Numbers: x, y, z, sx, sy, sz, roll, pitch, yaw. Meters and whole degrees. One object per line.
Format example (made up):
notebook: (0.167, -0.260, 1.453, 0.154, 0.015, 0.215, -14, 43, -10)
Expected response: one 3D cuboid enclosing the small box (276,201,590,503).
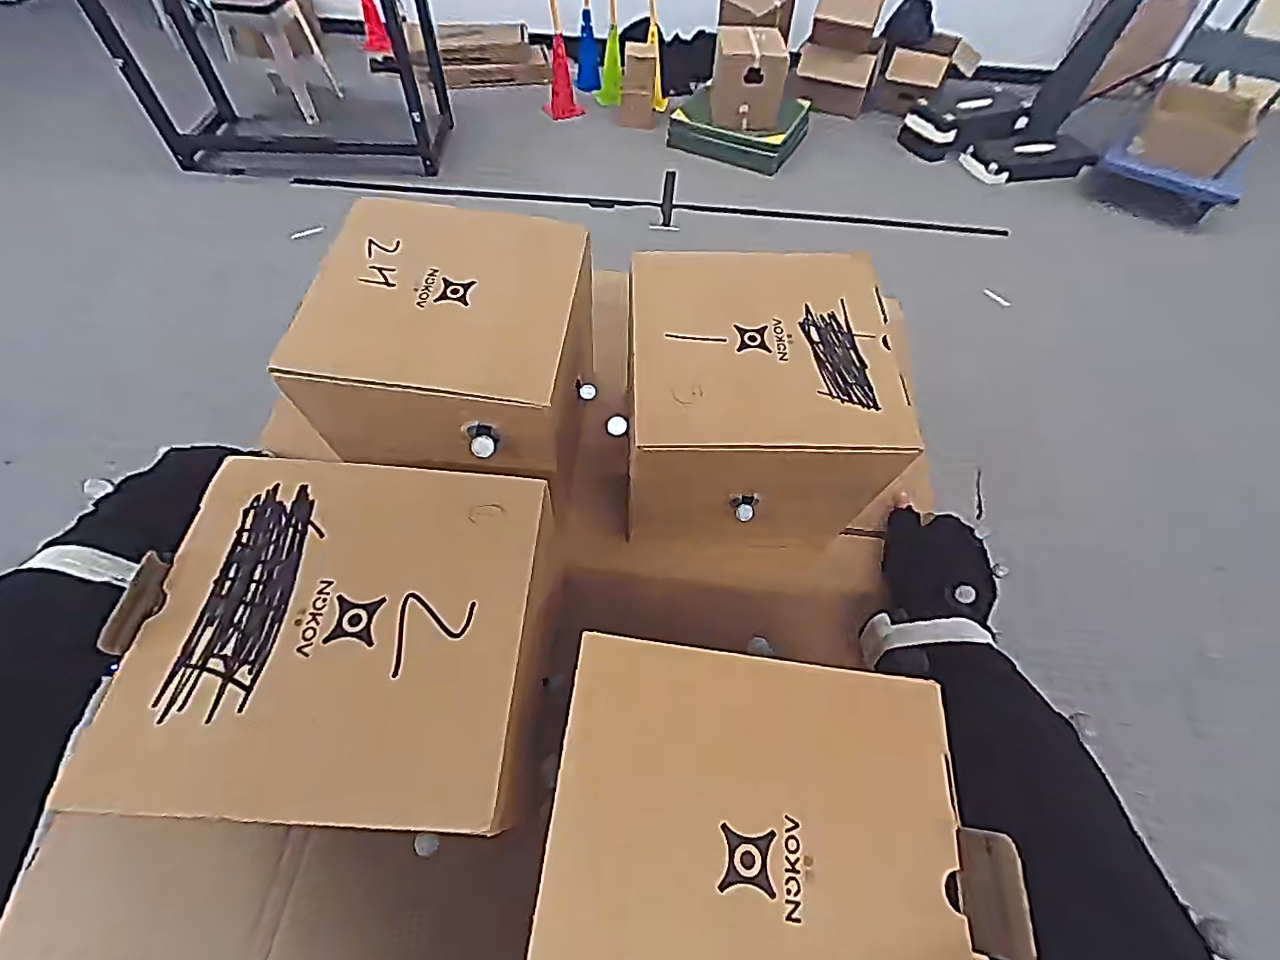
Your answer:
small box: (-0.139, -0.093, 0.446, 0.179, 0.176, 0.168, 7, 62, 1)
